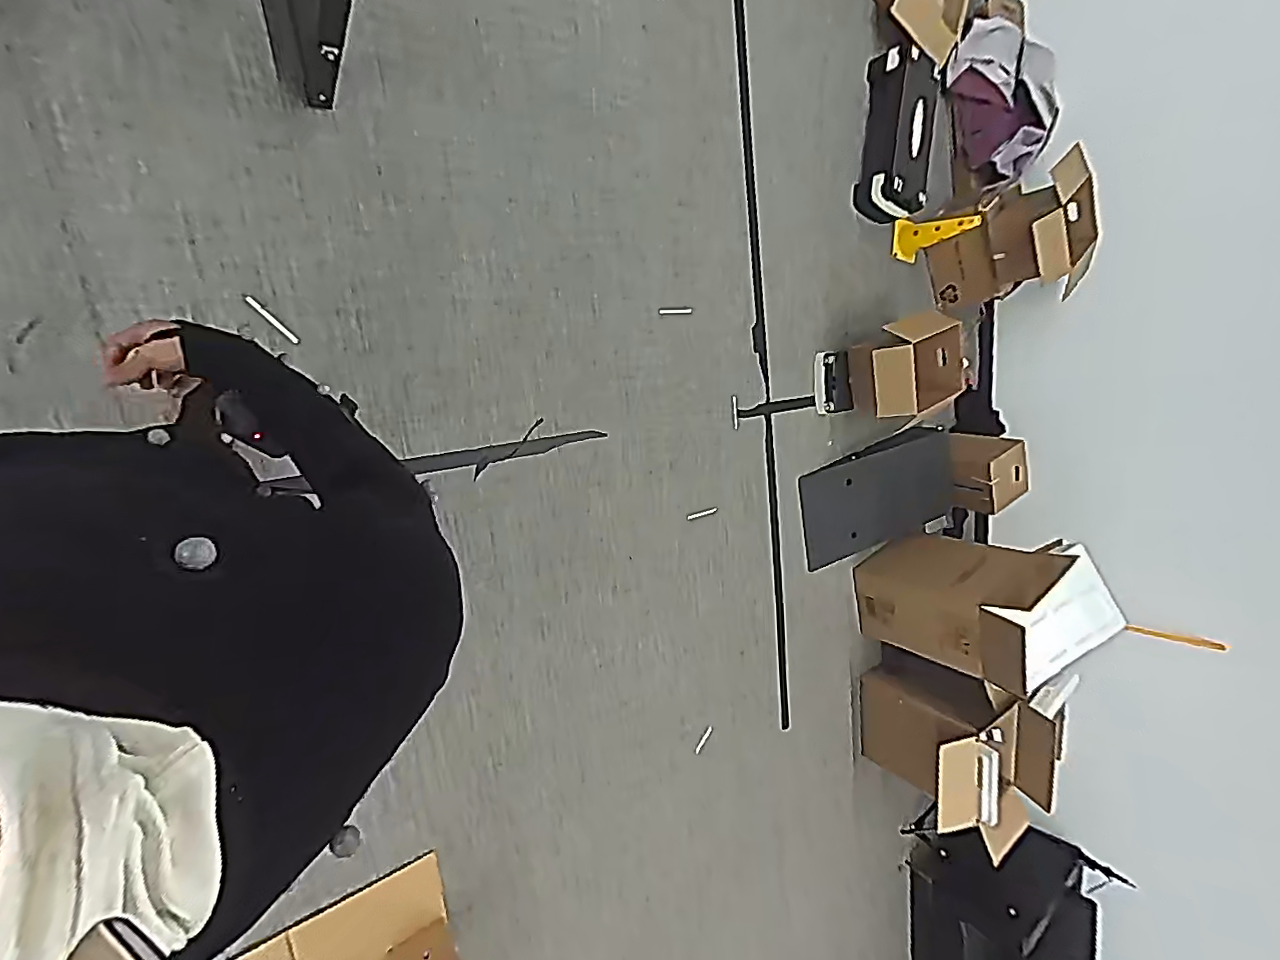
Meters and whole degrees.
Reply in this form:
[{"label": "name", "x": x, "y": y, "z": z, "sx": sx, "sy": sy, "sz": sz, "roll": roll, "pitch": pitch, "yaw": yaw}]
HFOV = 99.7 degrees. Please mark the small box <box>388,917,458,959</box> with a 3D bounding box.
[{"label": "small box", "x": -0.660, "y": 1.516, "z": 1.657, "sx": 0.179, "sy": 0.176, "sz": 0.168, "roll": -13, "pitch": 104, "yaw": -34}]
